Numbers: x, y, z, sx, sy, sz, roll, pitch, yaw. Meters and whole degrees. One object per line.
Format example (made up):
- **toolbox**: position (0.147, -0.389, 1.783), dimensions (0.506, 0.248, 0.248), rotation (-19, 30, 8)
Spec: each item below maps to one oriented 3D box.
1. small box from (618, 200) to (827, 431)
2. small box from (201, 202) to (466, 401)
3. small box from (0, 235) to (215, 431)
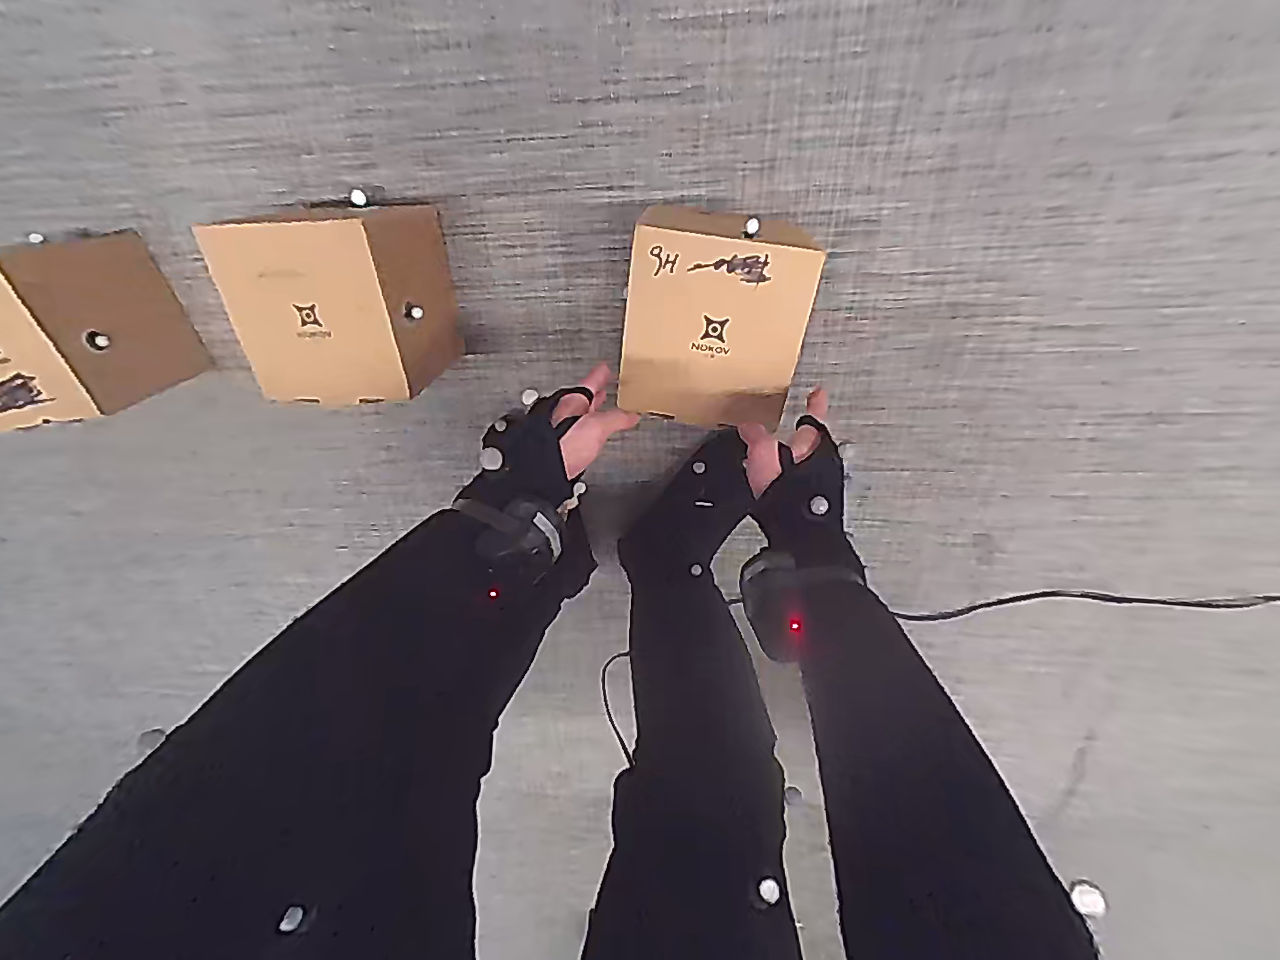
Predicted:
- **small box**: position (0.077, -0.176, 0.564), dimensions (0.168, 0.176, 0.179), rotation (9, 124, 2)
- **small box**: position (-0.311, -0.200, 0.598), dimensions (0.168, 0.176, 0.179), rotation (0, 121, 6)
- **small box**: position (-0.677, -0.179, 0.651), dimensions (0.168, 0.176, 0.179), rotation (-6, 120, 10)
